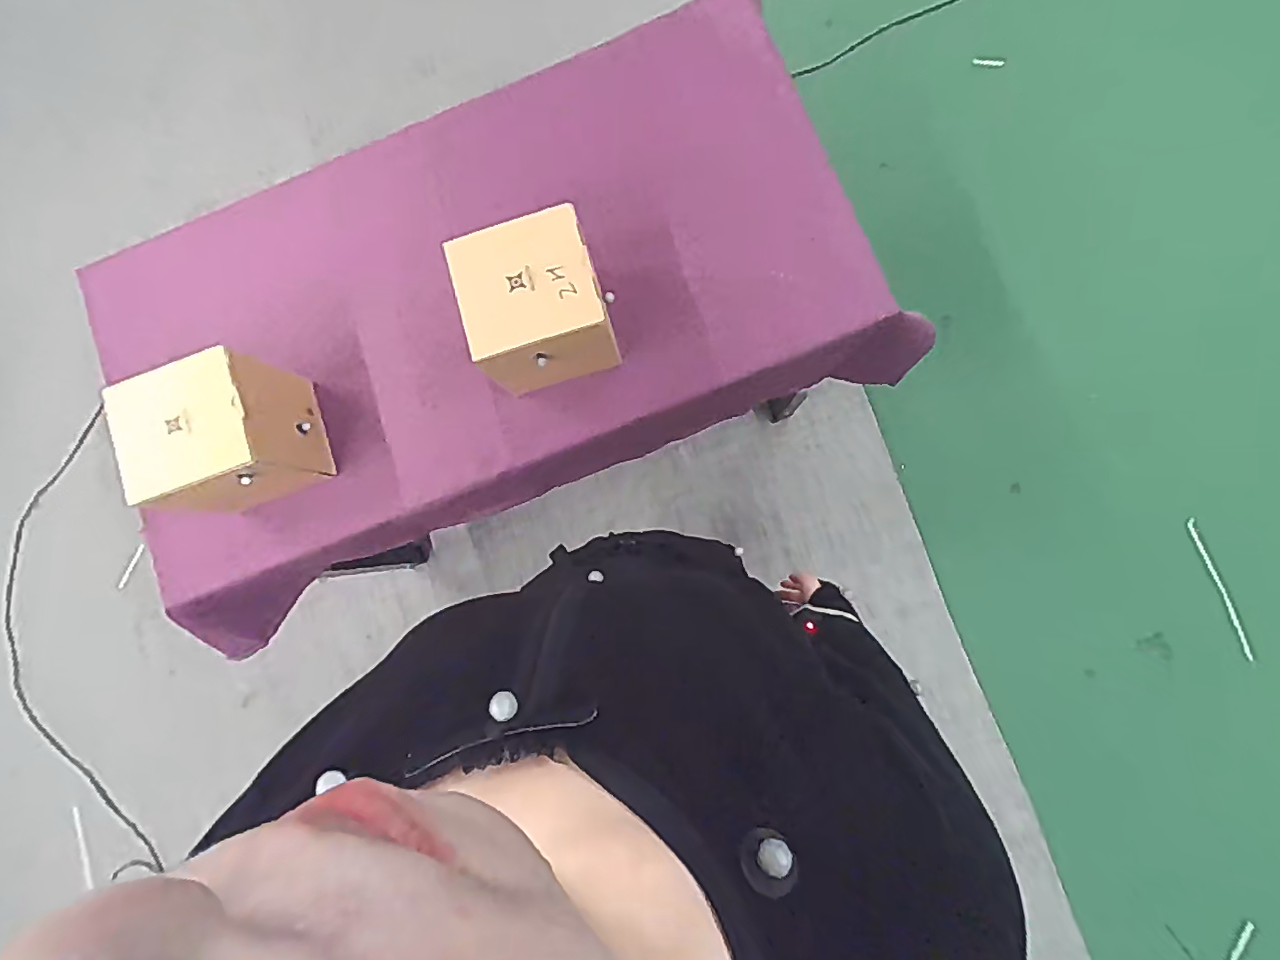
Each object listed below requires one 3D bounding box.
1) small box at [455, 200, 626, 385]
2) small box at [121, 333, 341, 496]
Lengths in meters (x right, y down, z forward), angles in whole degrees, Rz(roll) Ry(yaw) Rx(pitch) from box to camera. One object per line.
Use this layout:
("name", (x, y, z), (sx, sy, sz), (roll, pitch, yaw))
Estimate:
("small box", (-0.129, -0.246, 0.755), (0.179, 0.176, 0.168), (-15, 83, 4))
("small box", (-0.577, -0.082, 0.781), (0.179, 0.176, 0.168), (-19, 82, 2))
